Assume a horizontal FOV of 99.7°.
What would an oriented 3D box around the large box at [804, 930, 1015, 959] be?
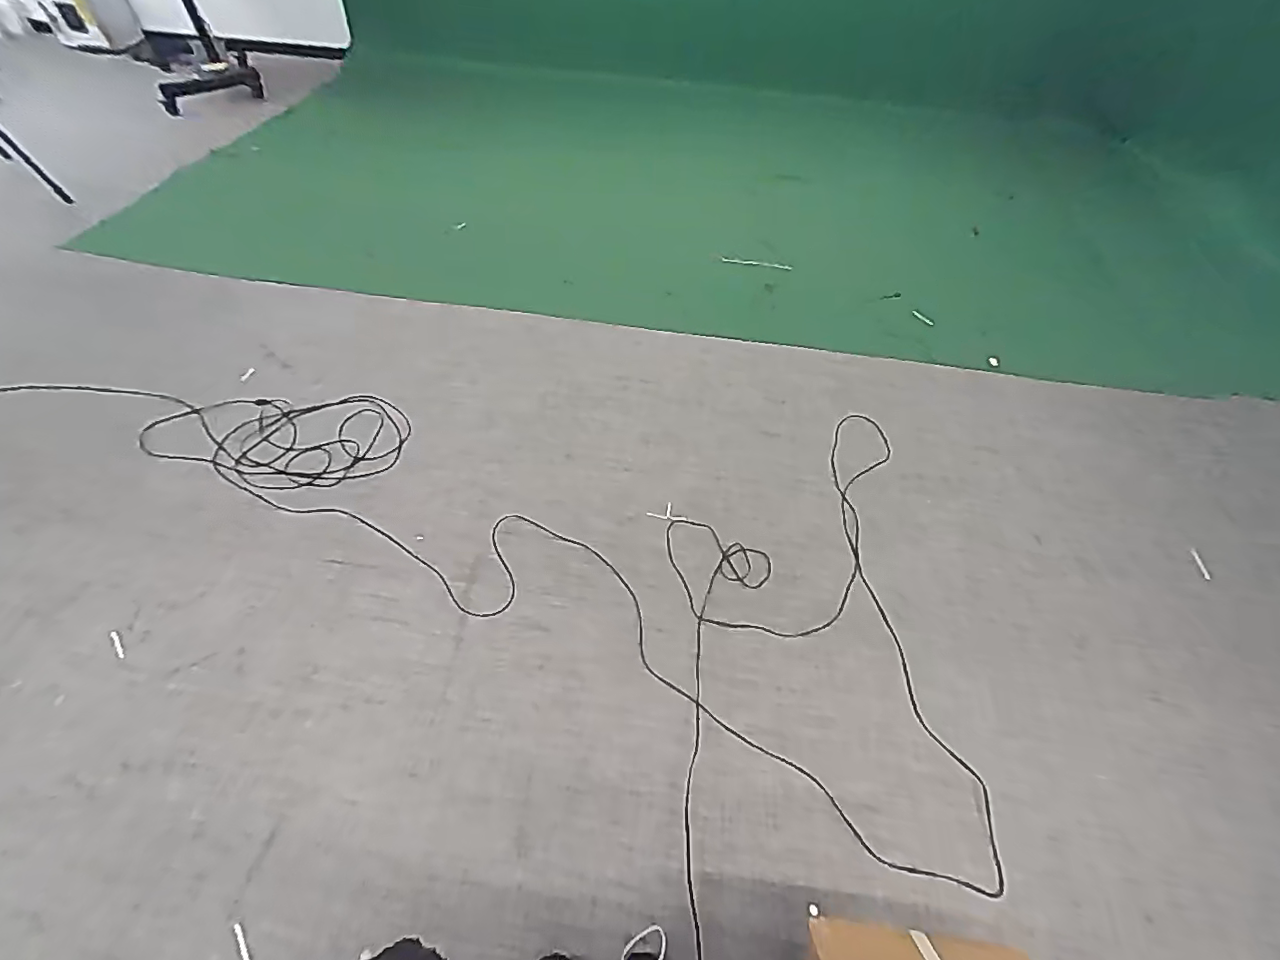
[{"bbox_3d":[0.375,0.819,0.594,0.320,0.408,0.320,6,85,5],"label":"large box"}]
